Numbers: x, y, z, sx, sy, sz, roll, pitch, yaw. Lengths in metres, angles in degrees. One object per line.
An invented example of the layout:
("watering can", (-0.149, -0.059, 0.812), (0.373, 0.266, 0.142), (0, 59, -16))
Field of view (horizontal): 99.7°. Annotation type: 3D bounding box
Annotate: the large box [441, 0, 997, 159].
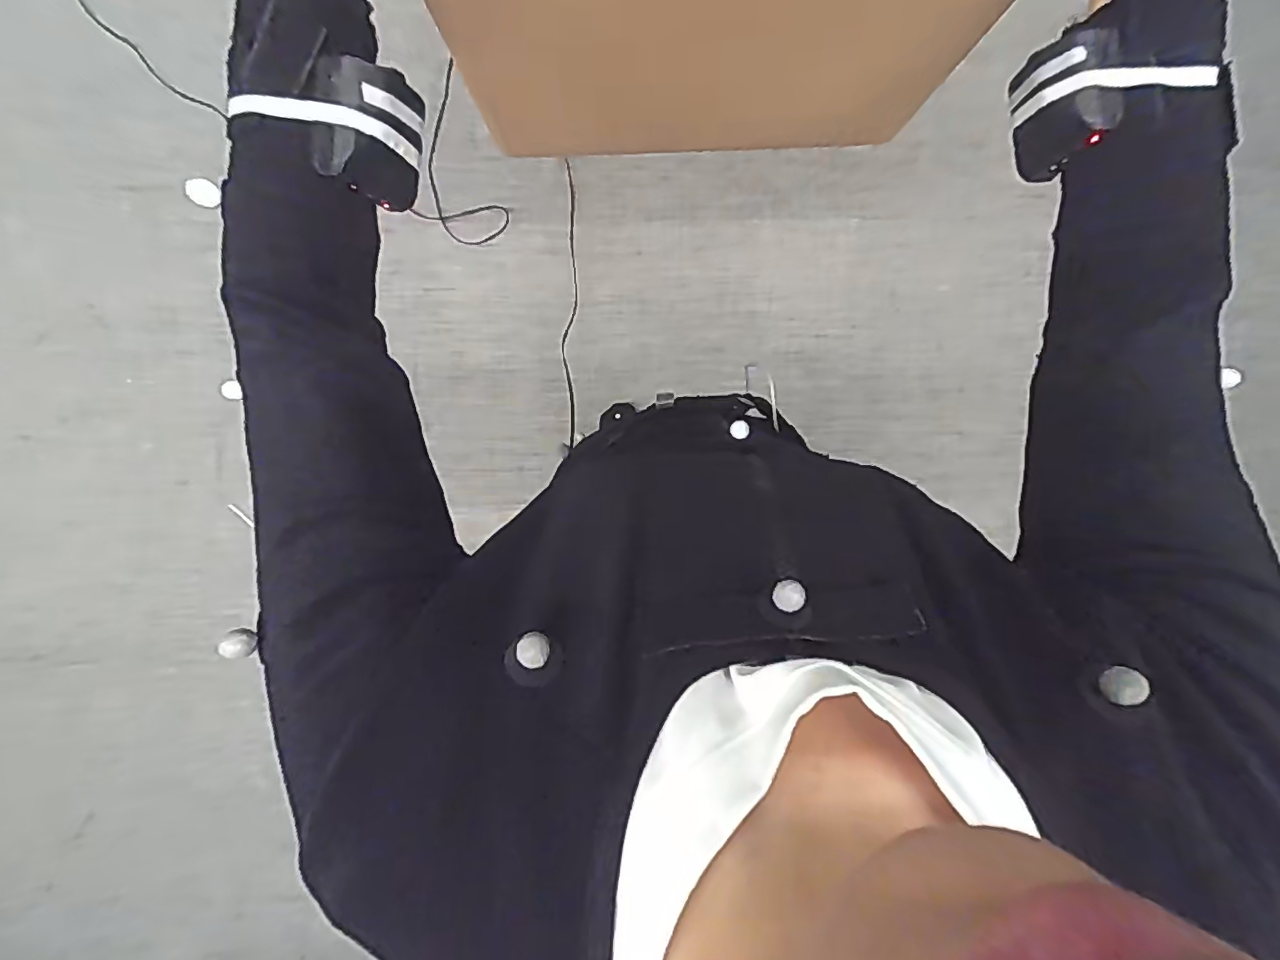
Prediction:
("large box", (0.051, -0.481, 0.403), (0.408, 0.320, 0.320), (-3, 96, -1))
